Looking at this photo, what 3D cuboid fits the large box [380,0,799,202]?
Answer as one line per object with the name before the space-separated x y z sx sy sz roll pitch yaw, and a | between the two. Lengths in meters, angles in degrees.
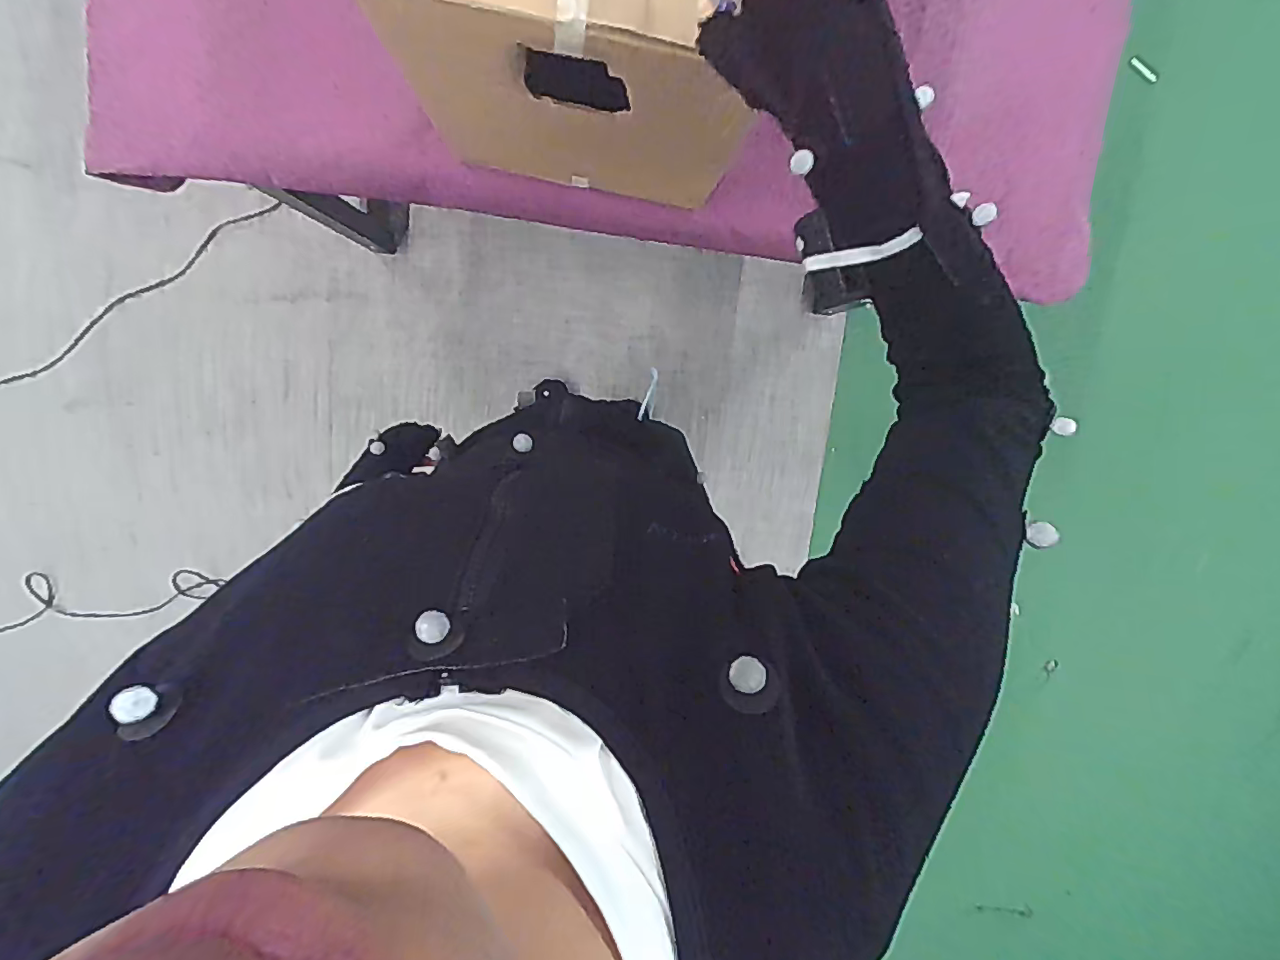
large box | -0.025 -0.544 0.506 0.320 0.320 0.408 8 100 -6
